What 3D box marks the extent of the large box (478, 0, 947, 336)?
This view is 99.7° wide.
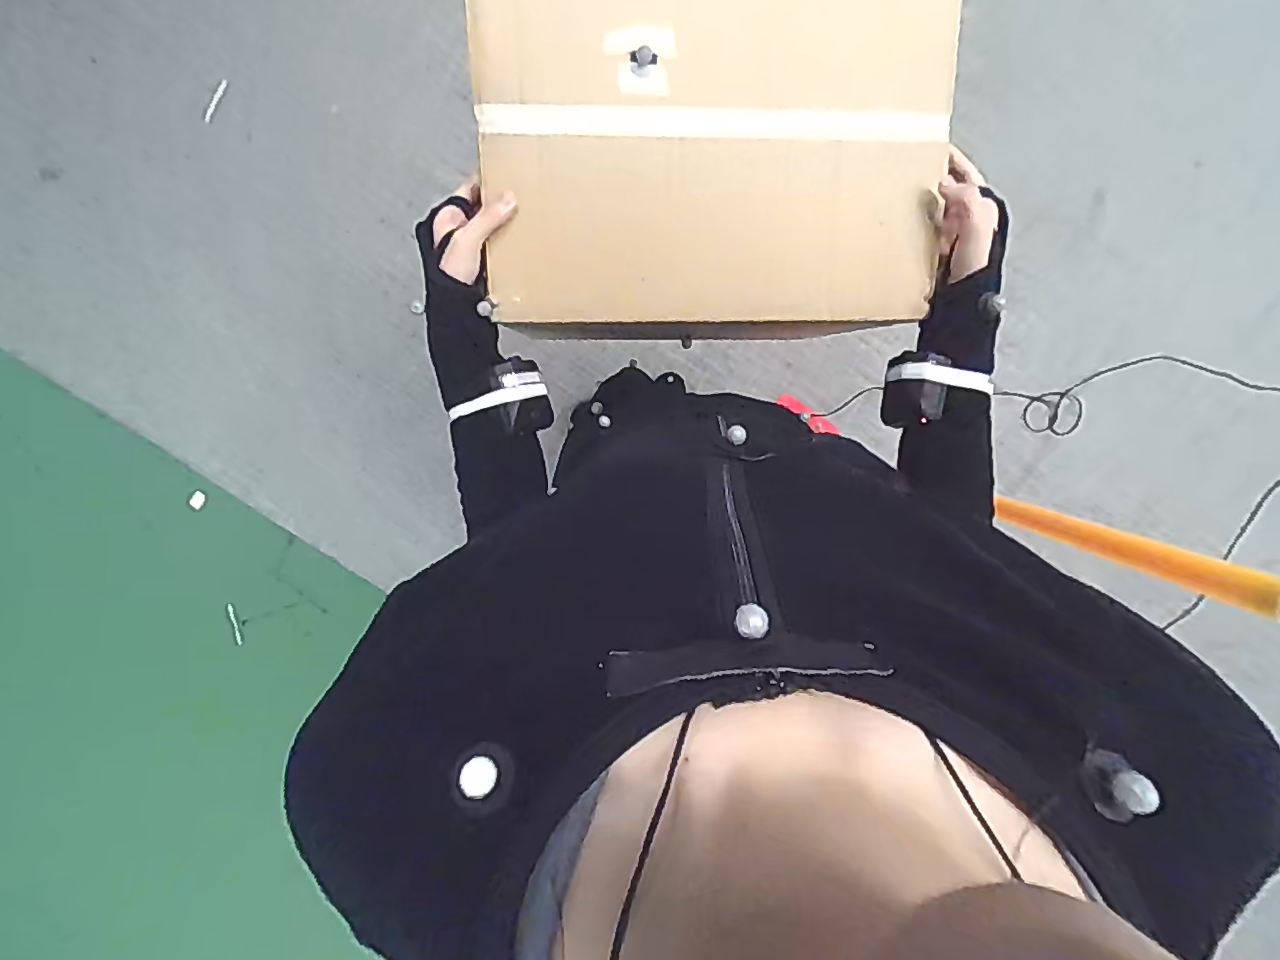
[{"bbox_3d":[0.058,-0.330,0.618,0.408,0.320,0.320,-1,101,-4],"label":"large box"}]
